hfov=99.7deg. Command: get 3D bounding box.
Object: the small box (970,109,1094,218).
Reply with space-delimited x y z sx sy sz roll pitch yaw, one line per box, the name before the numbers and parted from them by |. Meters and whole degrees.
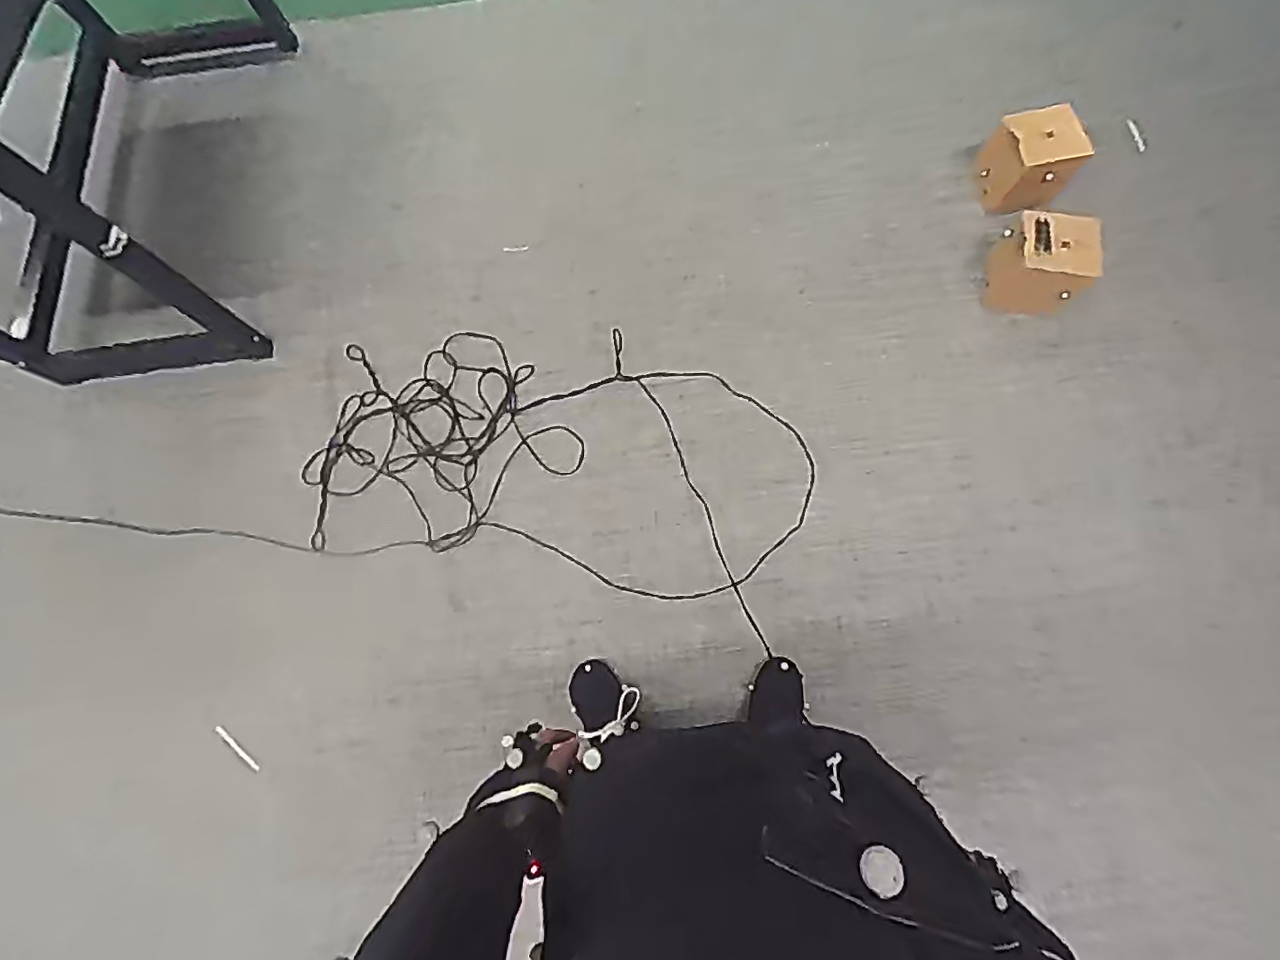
small box | 1.019 -0.826 1.422 0.179 0.176 0.168 -11 74 0
